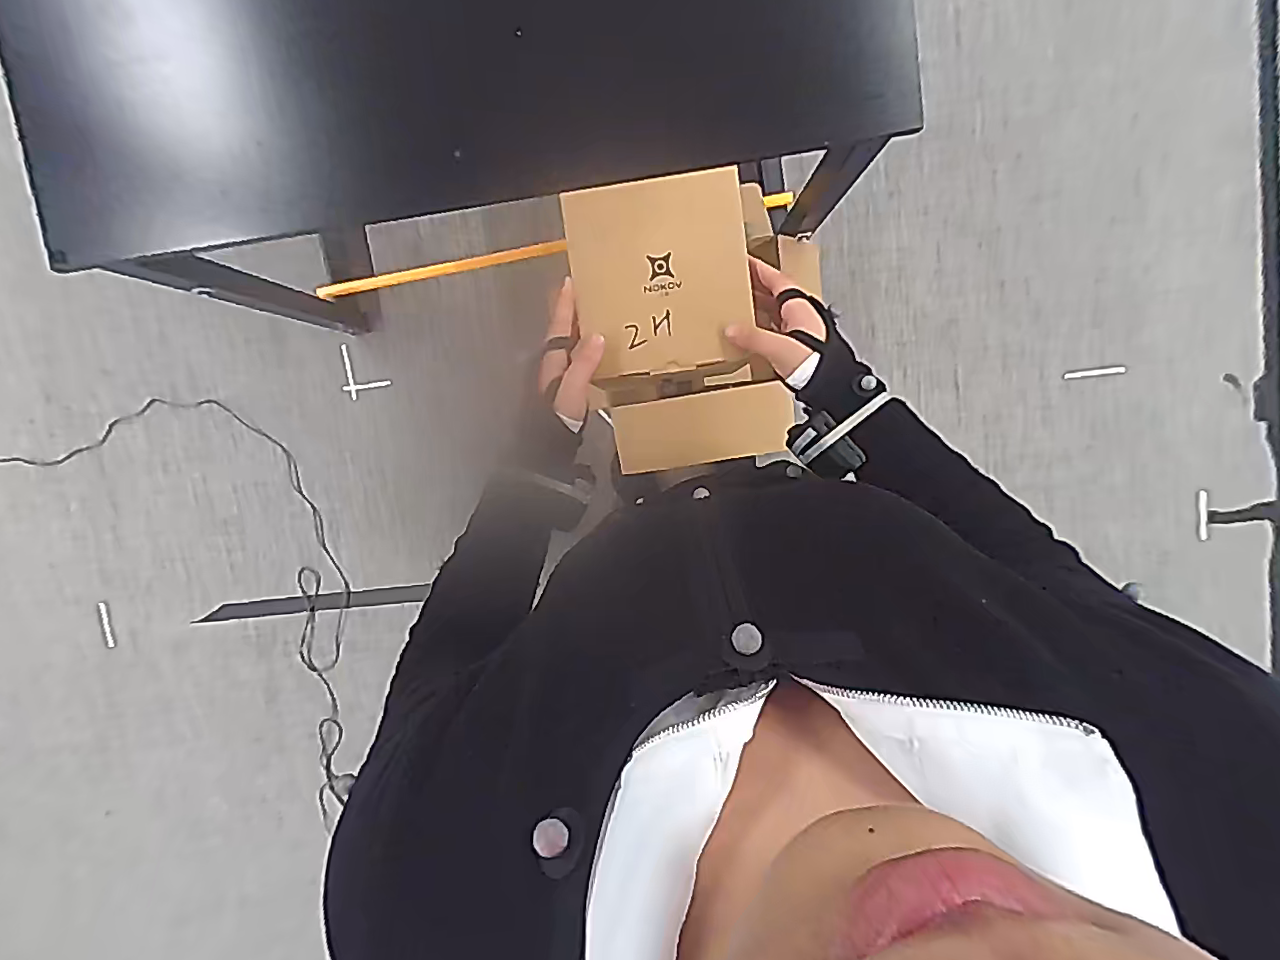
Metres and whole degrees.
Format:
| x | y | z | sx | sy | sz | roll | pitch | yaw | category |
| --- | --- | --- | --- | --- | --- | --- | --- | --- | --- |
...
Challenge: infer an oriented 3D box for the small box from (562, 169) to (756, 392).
| x | y | z | sx | sy | sz | roll | pitch | yaw | category |
| --- | --- | --- | --- | --- | --- | --- | --- | --- | --- |
| 0.019 | -0.196 | 0.580 | 0.168 | 0.176 | 0.179 | -8 | 96 | 3 | small box |
